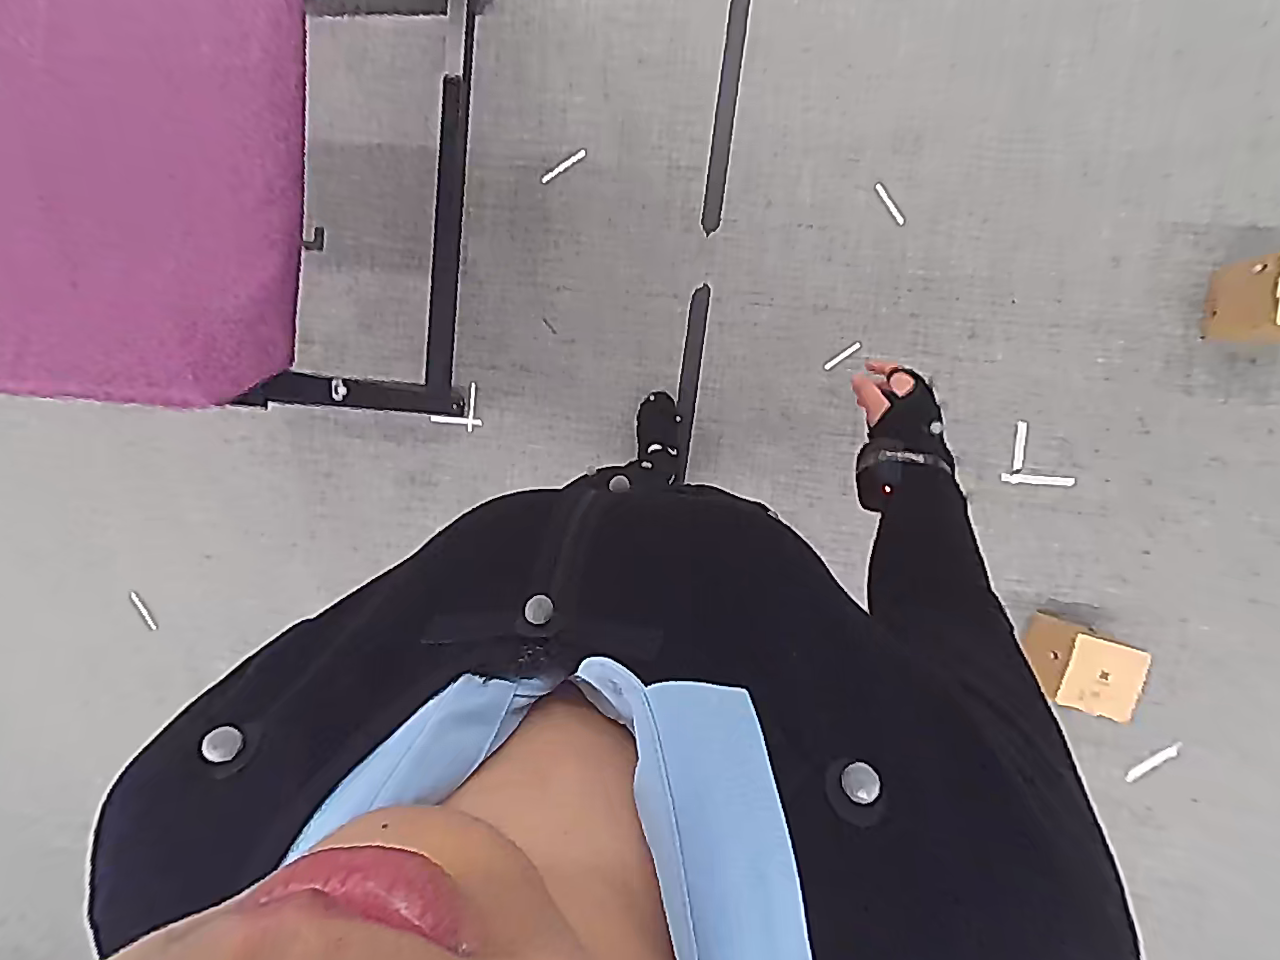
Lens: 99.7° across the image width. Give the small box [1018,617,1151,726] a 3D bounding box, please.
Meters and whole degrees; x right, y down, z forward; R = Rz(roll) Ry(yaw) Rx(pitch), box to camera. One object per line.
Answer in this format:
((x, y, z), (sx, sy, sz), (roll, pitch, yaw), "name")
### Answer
((1.071, 0.456, 1.320), (0.168, 0.176, 0.179), (16, 95, 6), "small box")
